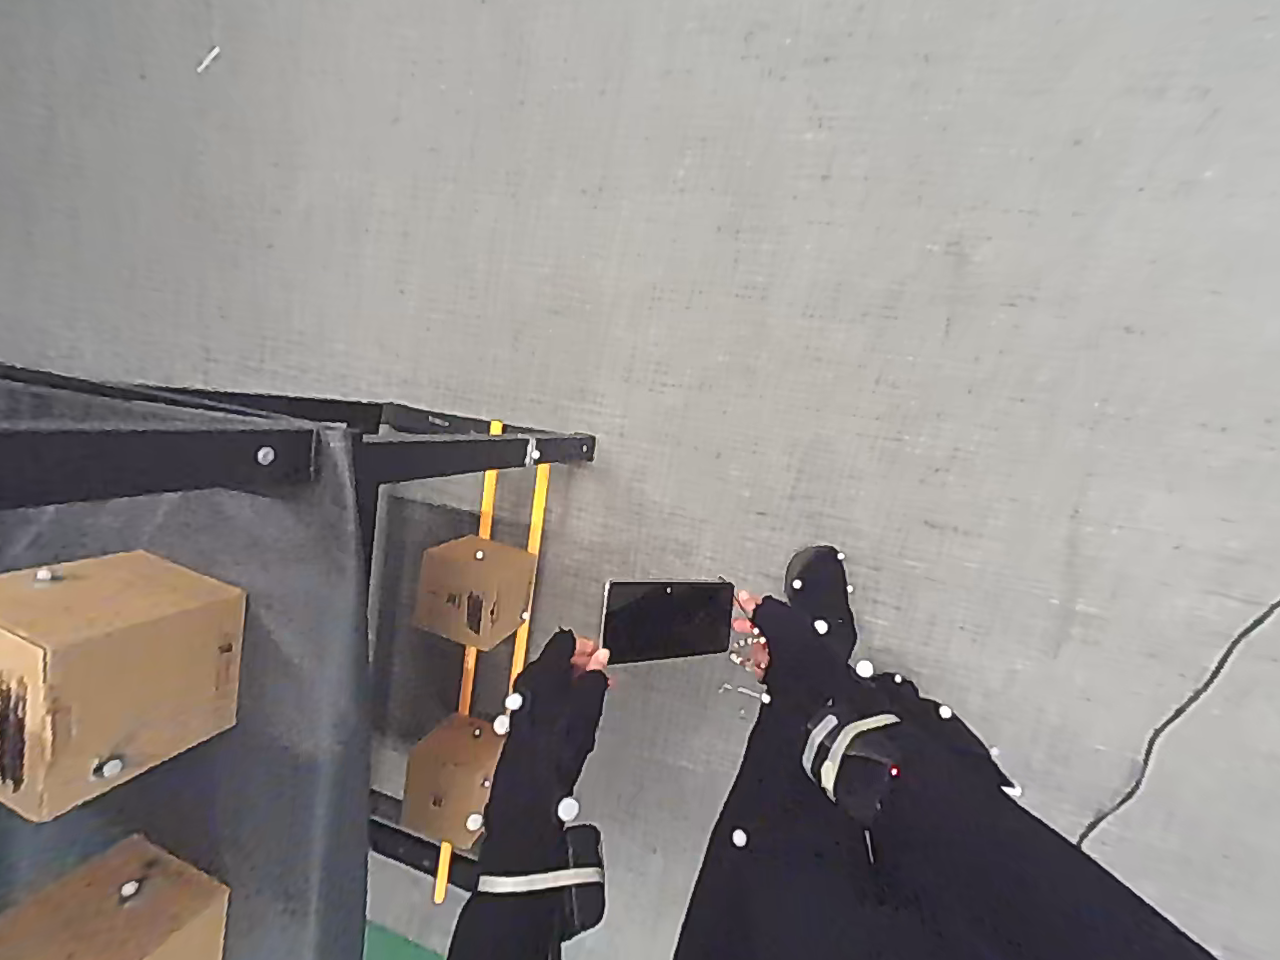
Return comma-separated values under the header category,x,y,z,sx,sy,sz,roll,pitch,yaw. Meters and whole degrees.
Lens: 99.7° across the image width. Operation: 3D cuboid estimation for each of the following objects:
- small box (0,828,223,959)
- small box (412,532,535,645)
category,x,y,z,sx,sy,sz,roll,pitch,yaw
small box,-0.607,0.544,0.599,0.168,0.176,0.179,15,98,14
small box,-0.345,0.219,1.146,0.179,0.176,0.168,15,98,14
